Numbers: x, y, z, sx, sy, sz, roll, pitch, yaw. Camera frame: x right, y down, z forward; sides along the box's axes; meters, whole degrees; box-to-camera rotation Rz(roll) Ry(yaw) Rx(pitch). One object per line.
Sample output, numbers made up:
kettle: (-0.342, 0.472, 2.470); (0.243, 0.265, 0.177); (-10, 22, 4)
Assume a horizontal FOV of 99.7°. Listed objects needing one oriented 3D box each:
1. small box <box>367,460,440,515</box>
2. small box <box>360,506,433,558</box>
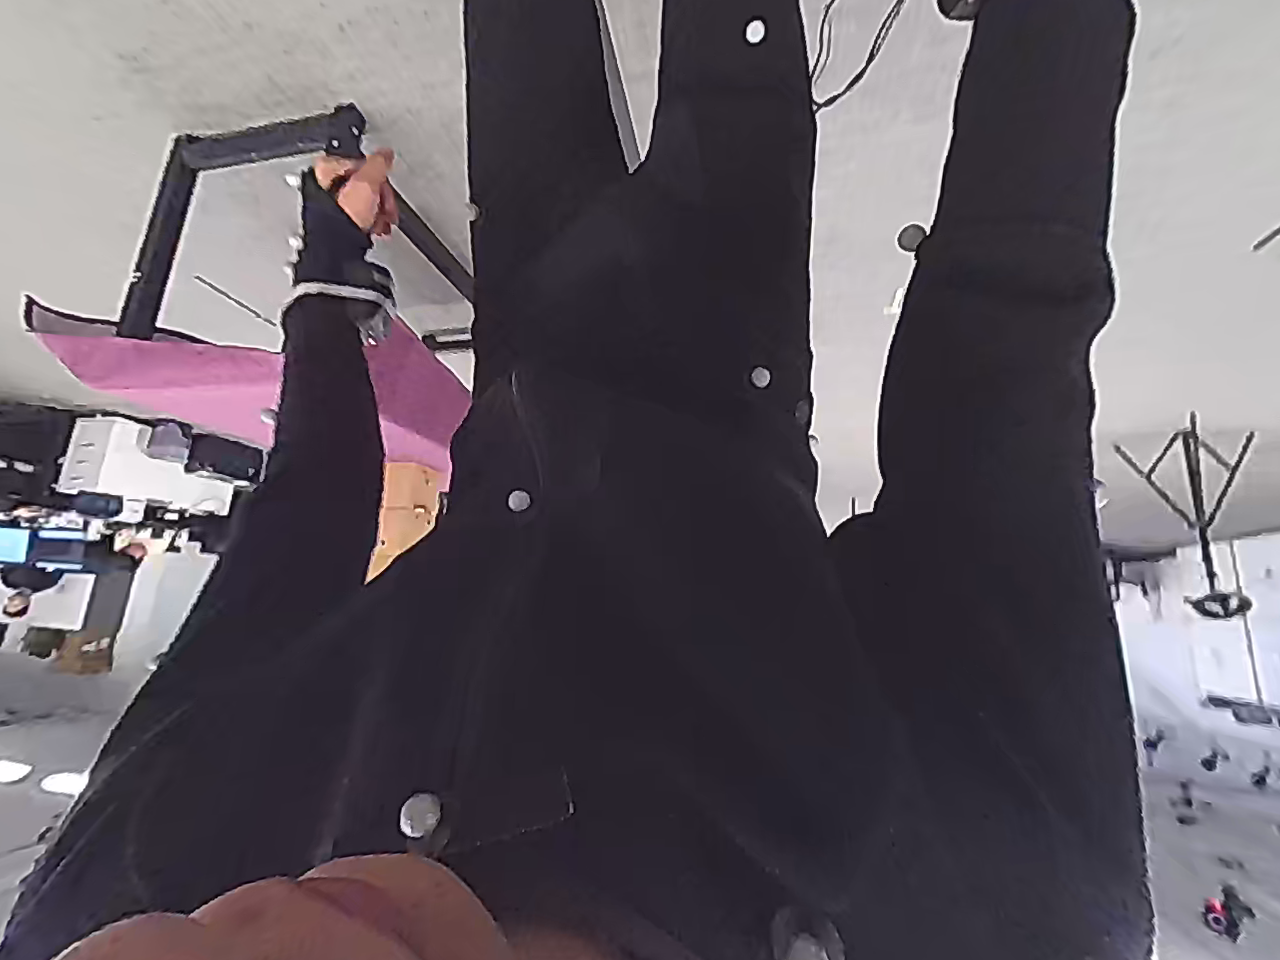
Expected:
small box: (-0.851, 0.027, 1.963); (0.179, 0.176, 0.168); (0, 168, 13)
small box: (-0.861, 0.187, 1.929); (0.179, 0.176, 0.168); (0, 167, 17)
